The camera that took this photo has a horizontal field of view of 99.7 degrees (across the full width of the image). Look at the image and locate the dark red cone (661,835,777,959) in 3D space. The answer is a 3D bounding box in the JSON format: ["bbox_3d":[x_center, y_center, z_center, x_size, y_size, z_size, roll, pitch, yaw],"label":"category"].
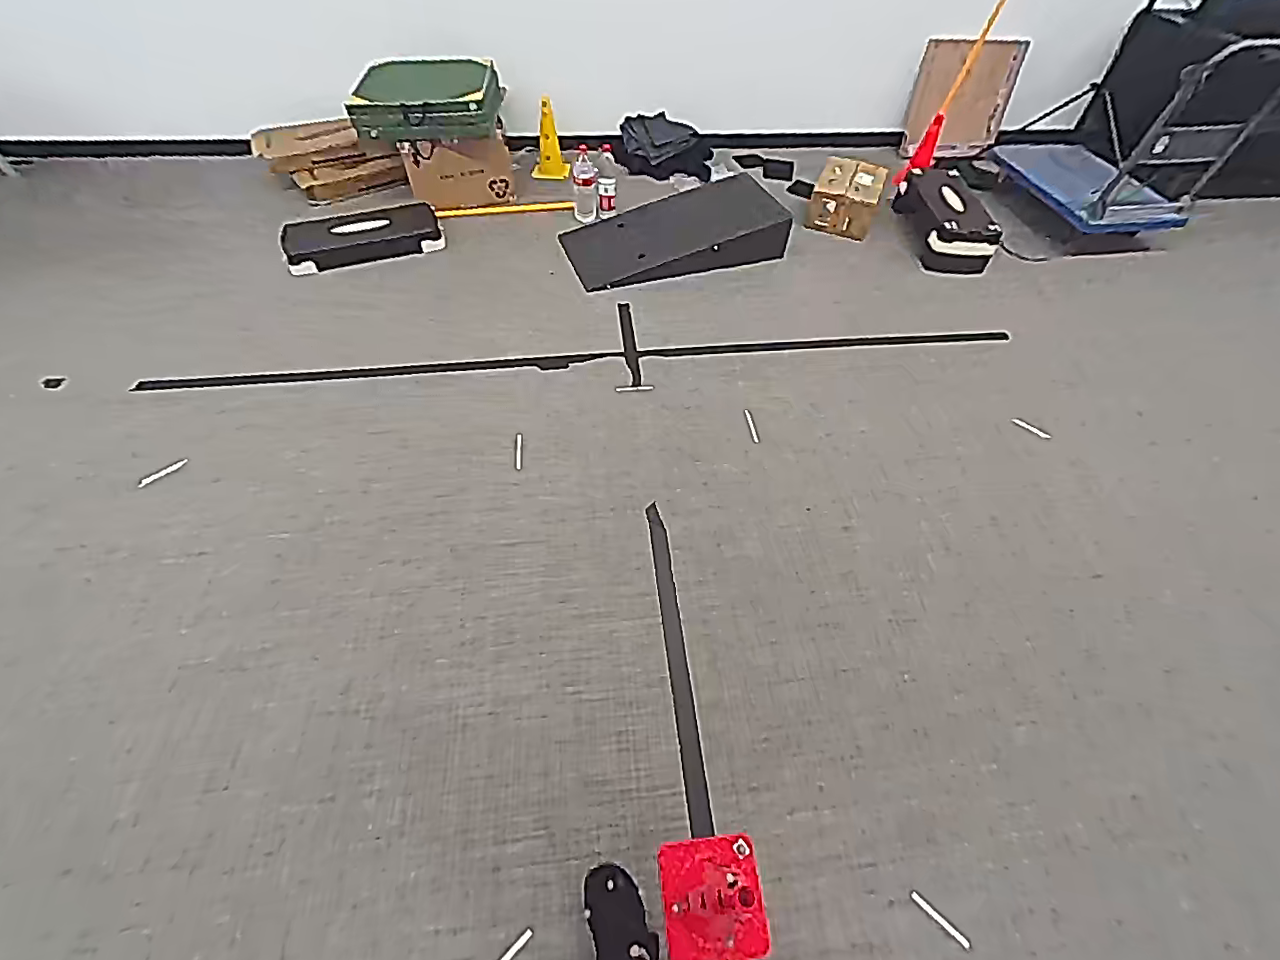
[{"bbox_3d":[0.152,0.715,0.917,0.201,0.394,0.202,-5,53,-5],"label":"dark red cone"}]
